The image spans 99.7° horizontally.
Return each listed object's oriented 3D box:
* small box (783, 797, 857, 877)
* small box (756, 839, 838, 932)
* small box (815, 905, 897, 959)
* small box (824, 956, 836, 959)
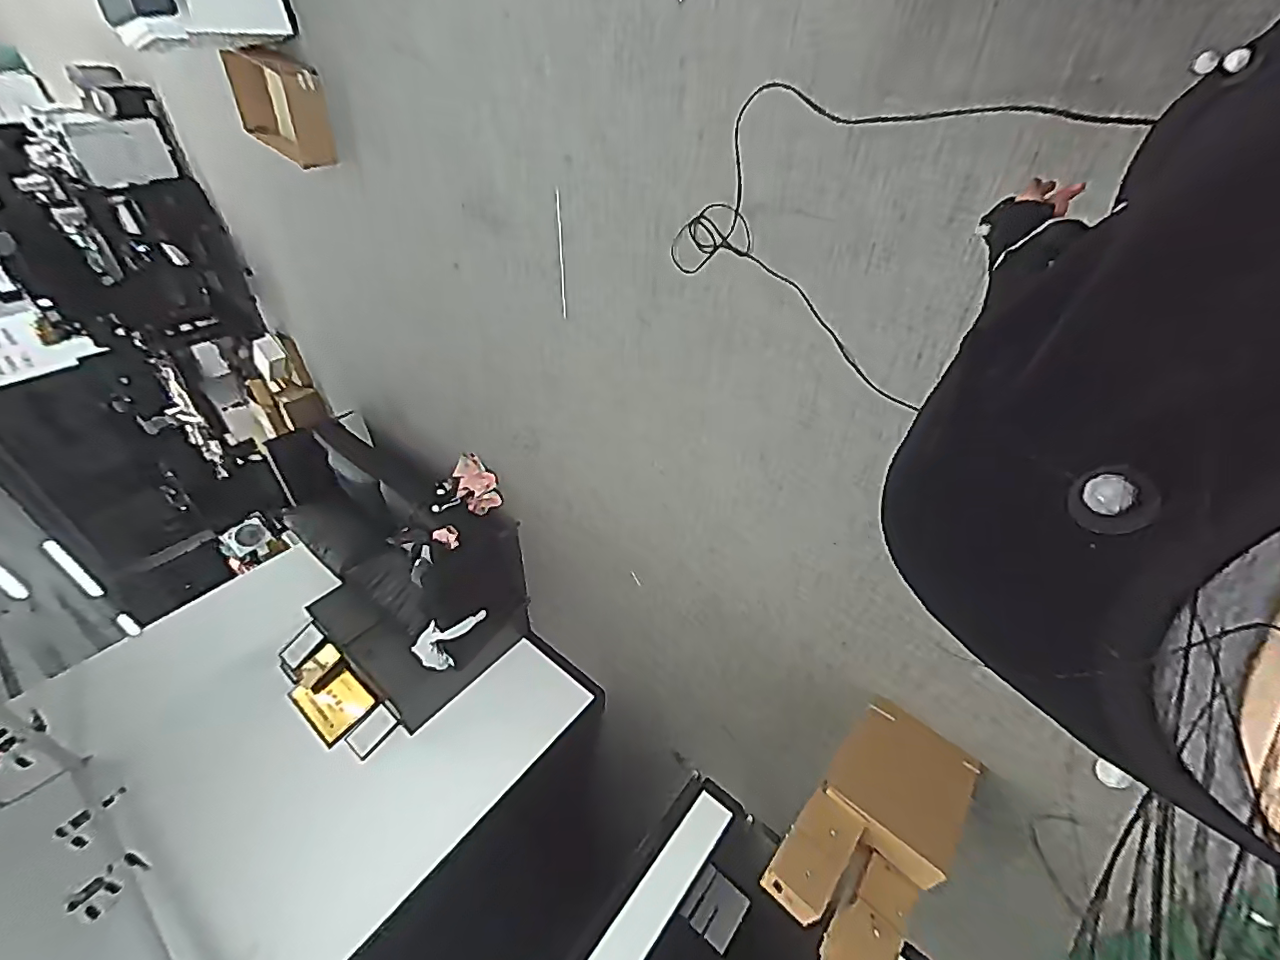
[{"bbox_3d":[0.626,1.253,1.881,0.179,0.176,0.168,33,135,25],"label":"small box"},{"bbox_3d":[0.517,1.327,1.783,0.179,0.176,0.168,34,137,24],"label":"small box"},{"bbox_3d":[0.701,1.527,1.748,0.168,0.176,0.179,34,138,22],"label":"small box"},{"bbox_3d":[0.609,1.608,1.639,0.179,0.176,0.168,31,136,27],"label":"small box"}]
